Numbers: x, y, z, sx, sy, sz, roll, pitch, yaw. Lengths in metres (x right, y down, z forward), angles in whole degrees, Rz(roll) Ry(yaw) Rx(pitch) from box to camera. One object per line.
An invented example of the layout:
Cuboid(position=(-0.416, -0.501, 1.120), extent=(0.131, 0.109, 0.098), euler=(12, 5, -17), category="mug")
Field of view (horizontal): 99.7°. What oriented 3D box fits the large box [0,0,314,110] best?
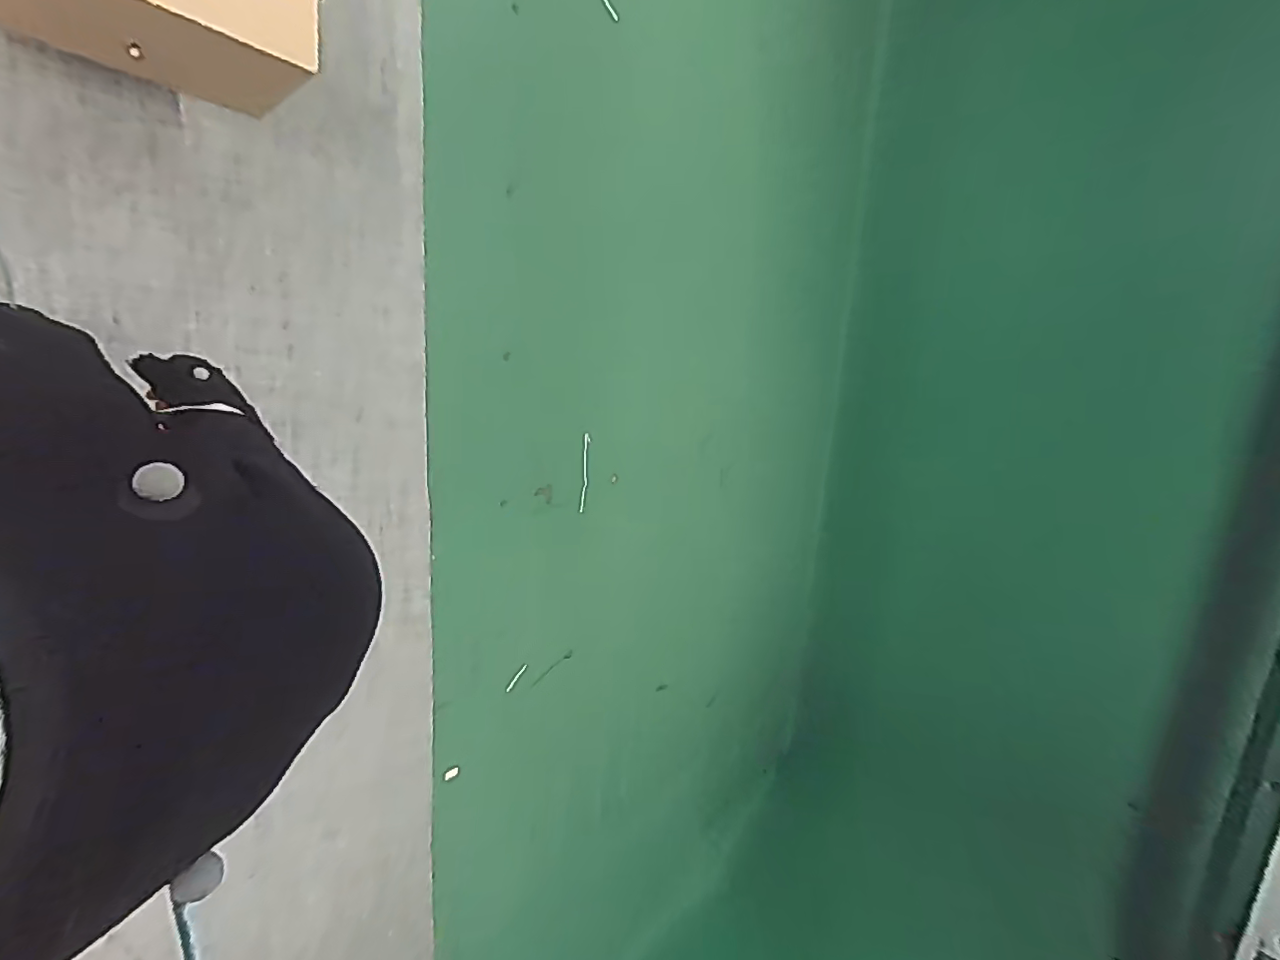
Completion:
Cuboid(position=(-0.757, -0.821, 0.795), extent=(0.408, 0.320, 0.320), euler=(-8, 106, -49), category="large box")
